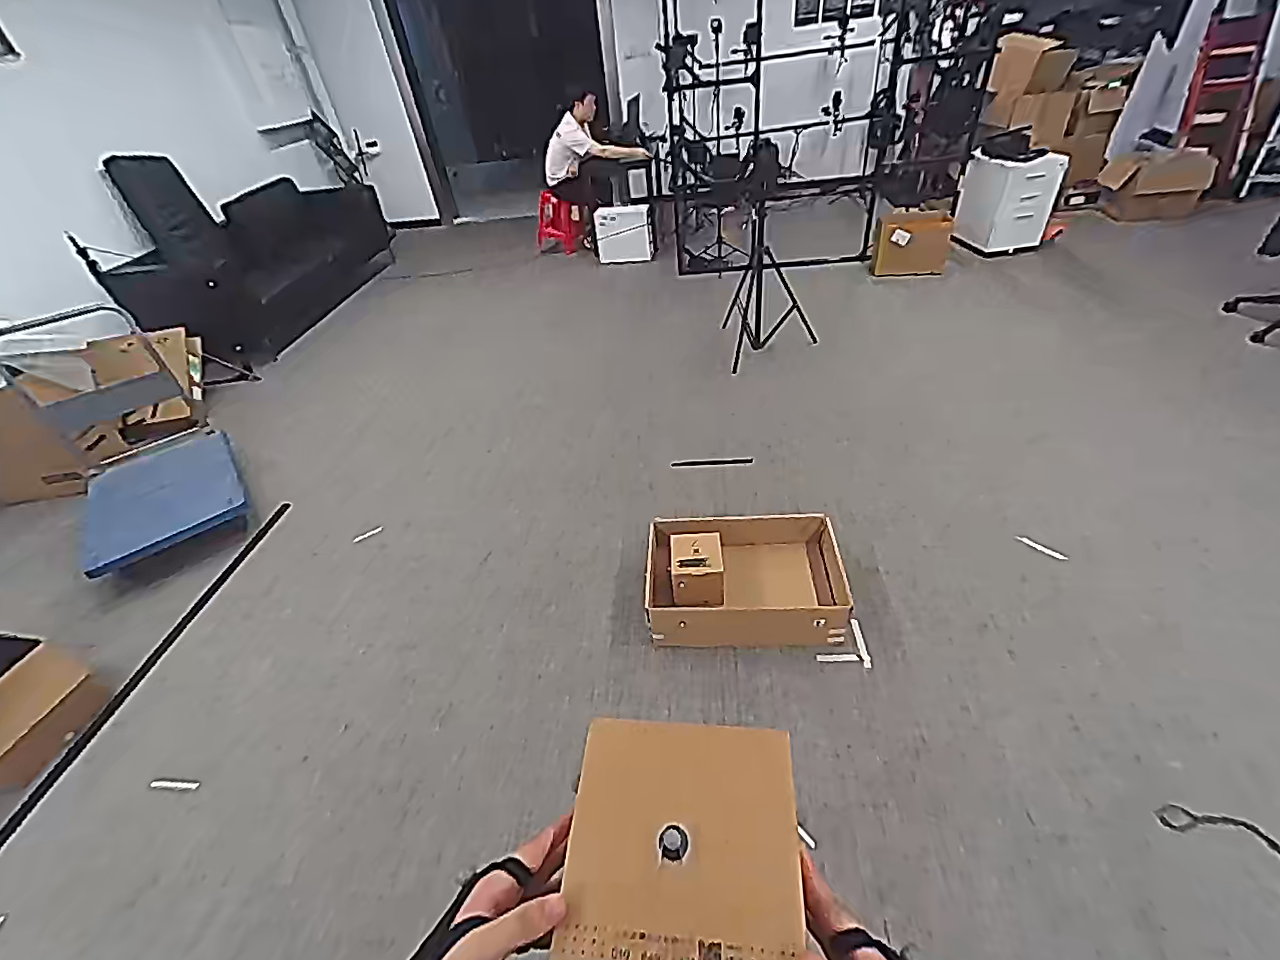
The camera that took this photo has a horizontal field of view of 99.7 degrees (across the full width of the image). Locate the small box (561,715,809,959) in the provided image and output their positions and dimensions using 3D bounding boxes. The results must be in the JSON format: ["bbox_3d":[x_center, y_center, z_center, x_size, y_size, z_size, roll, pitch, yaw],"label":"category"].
[{"bbox_3d":[0.042,0.315,0.445,0.168,0.179,0.176,0,44,10],"label":"small box"}]
